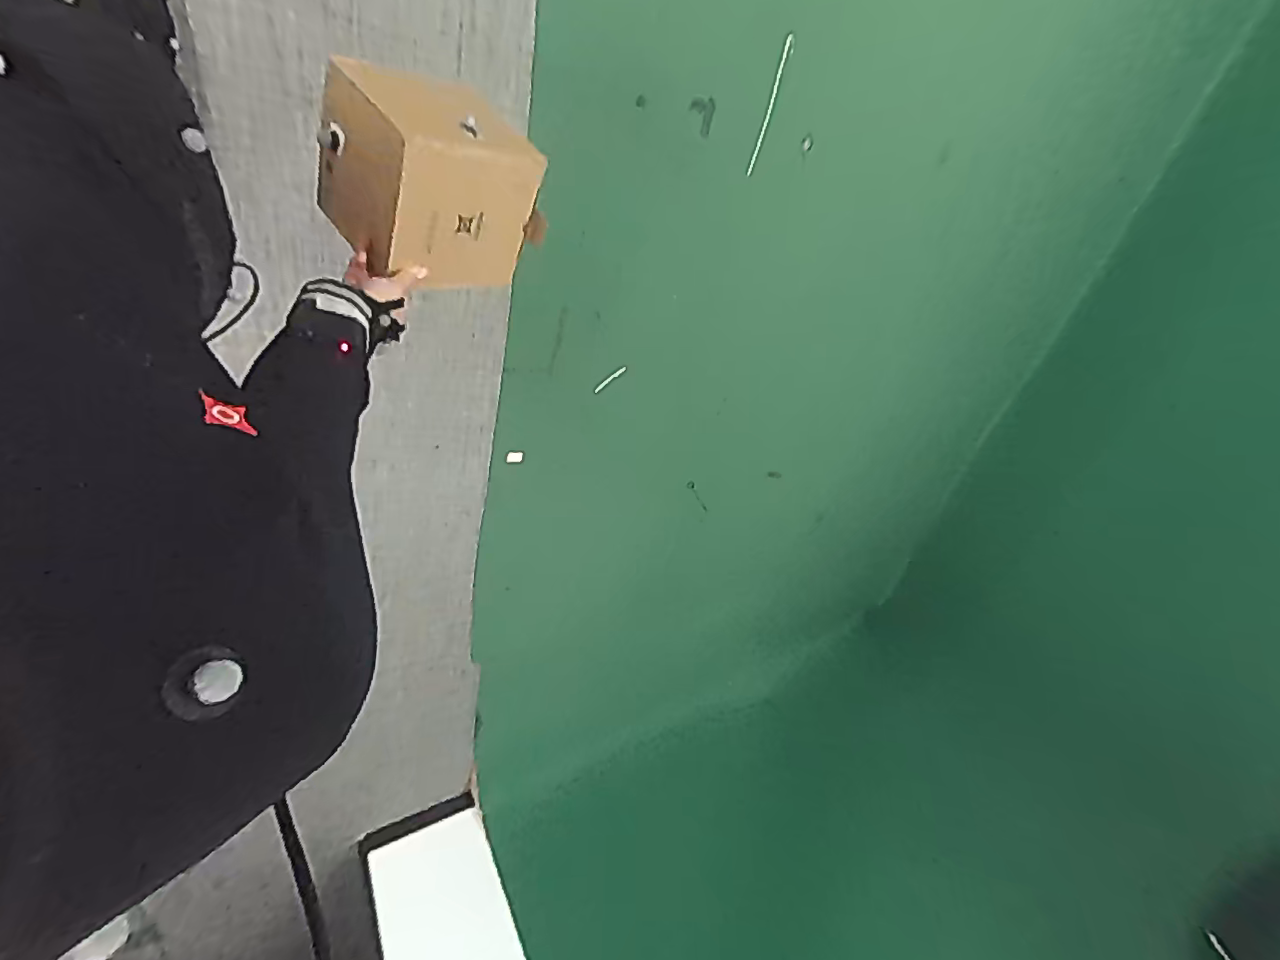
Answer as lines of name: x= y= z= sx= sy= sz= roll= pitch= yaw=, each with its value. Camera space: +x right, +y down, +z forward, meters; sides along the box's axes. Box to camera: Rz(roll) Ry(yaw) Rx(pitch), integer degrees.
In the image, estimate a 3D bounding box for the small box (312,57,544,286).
small box: x=-0.249 y=-0.351 z=0.632 sx=0.179 sy=0.176 sz=0.168 roll=-25 pitch=156 yaw=-45
